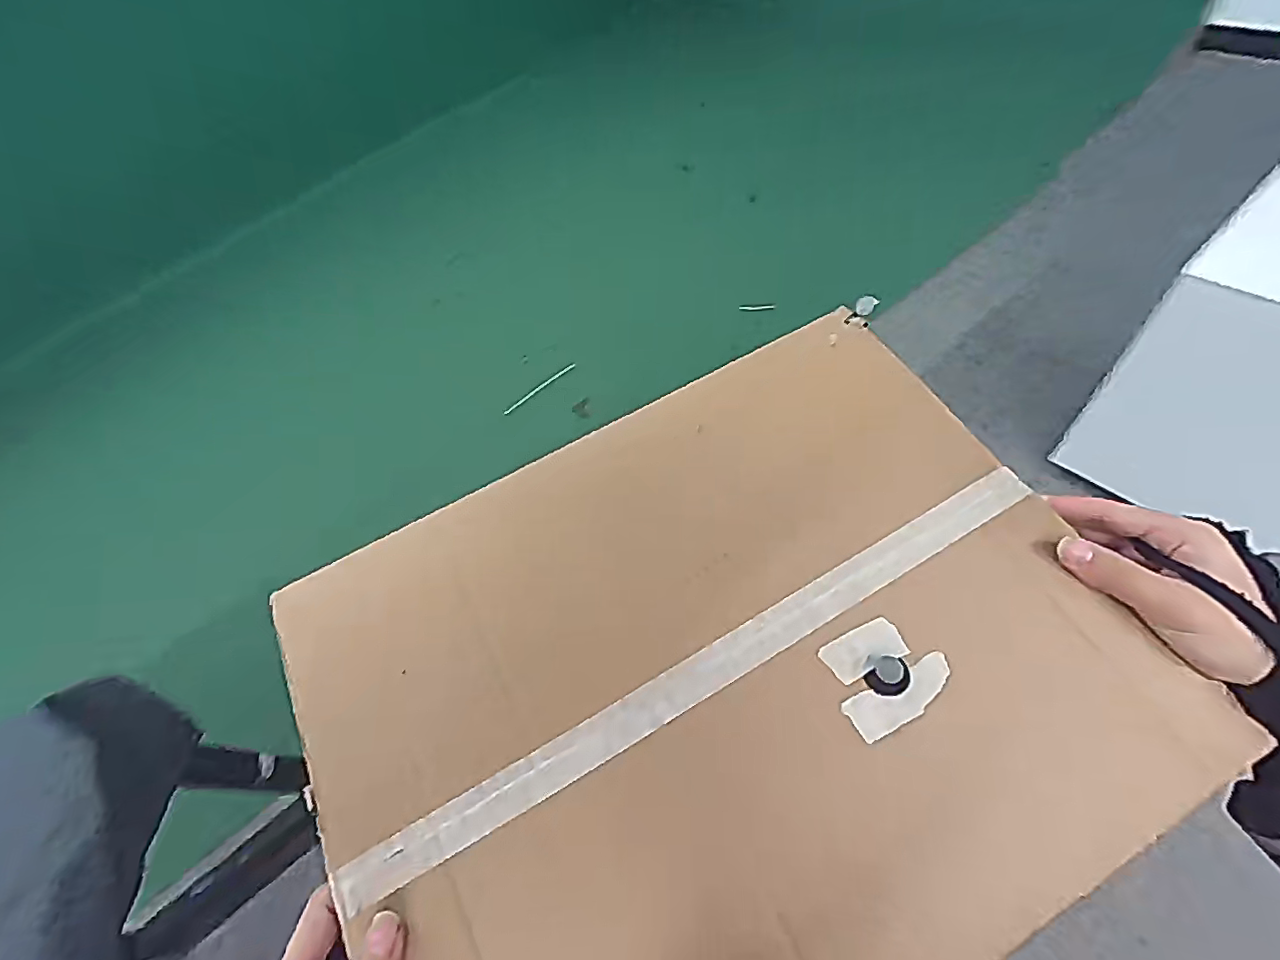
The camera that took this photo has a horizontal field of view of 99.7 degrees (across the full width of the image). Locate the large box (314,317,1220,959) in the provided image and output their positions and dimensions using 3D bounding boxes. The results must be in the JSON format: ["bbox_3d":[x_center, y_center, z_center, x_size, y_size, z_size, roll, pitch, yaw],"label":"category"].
[{"bbox_3d":[0.054,0.154,0.429,0.408,0.320,0.320,-27,67,-10],"label":"large box"}]
